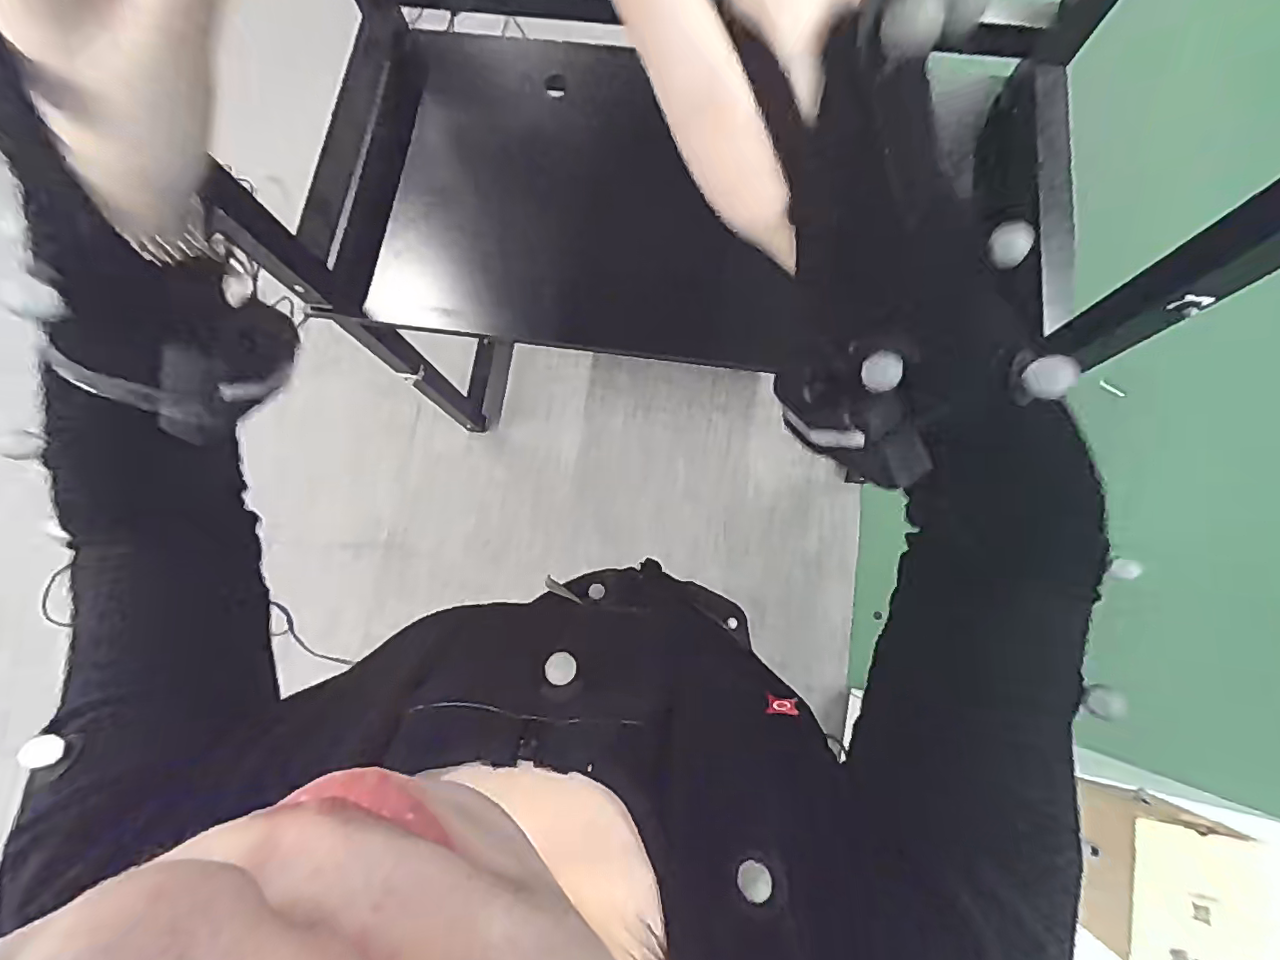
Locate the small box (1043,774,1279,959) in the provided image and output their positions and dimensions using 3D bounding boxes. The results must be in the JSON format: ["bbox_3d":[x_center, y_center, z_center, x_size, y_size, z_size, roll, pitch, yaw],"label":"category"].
[{"bbox_3d":[0.688,0.529,0.733,0.168,0.176,0.179,11,80,5],"label":"small box"}]
